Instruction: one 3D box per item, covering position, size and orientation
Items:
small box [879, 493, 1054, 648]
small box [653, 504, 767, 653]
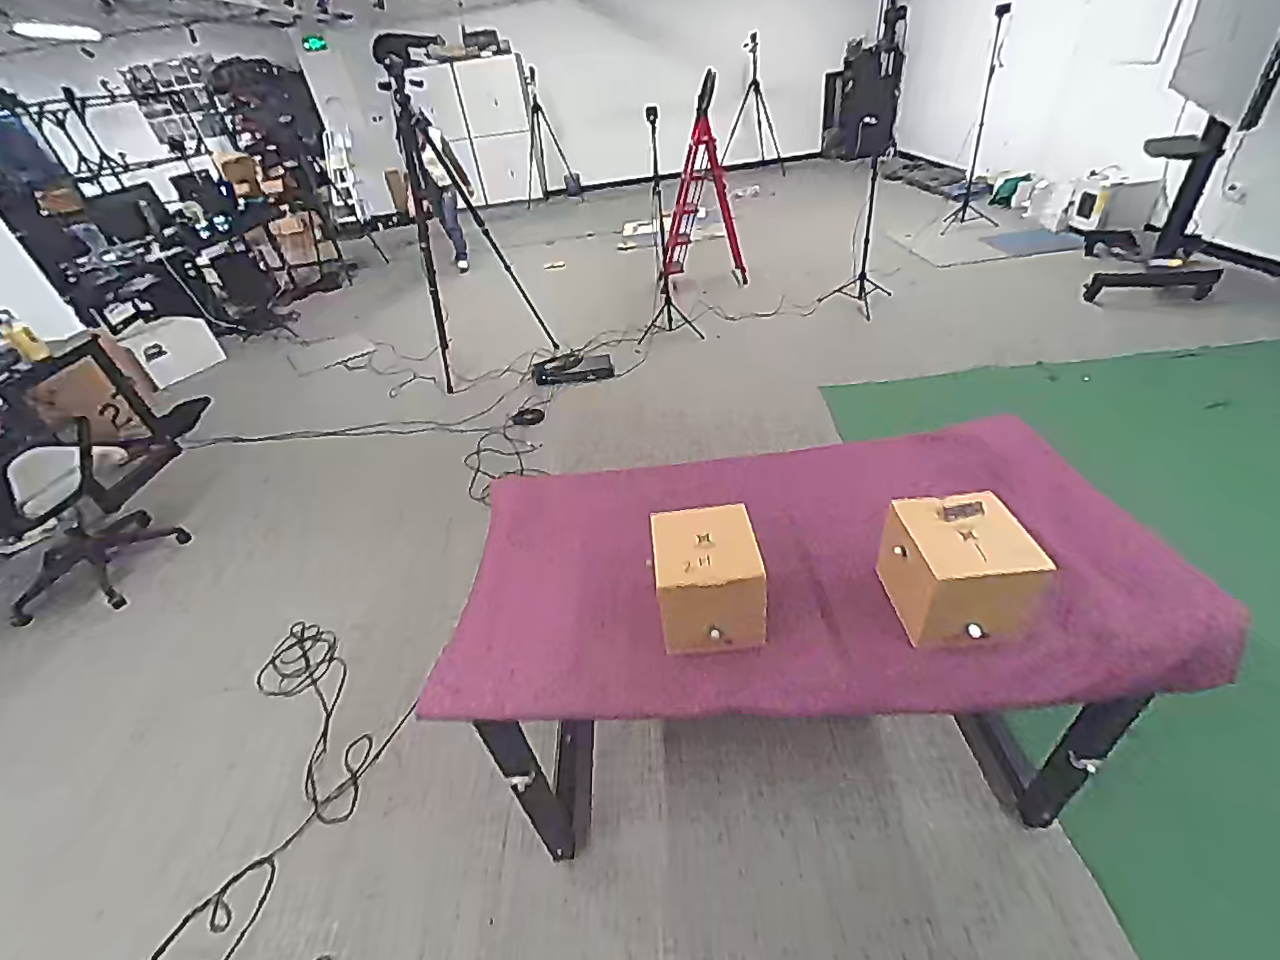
[{"bbox_3d":[0.505,0.145,0.873,0.168,0.176,0.179,-6,37,4],"label":"small box"},{"bbox_3d":[0.113,0.165,0.917,0.168,0.176,0.179,-7,36,2],"label":"small box"}]
